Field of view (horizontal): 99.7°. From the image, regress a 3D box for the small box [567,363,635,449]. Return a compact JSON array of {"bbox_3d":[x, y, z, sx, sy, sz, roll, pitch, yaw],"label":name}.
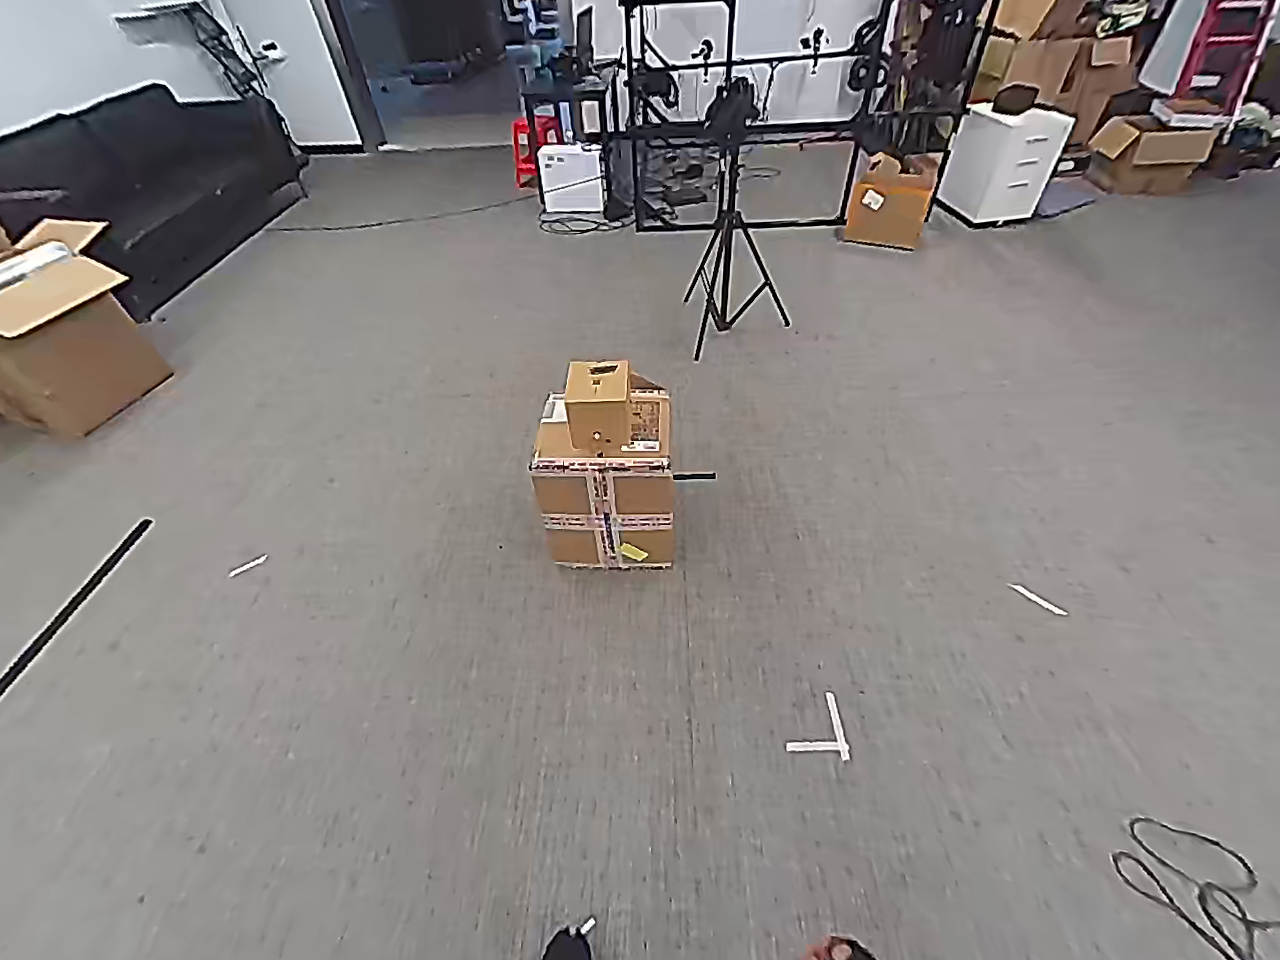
[{"bbox_3d":[-0.103,-0.207,1.519,0.168,0.176,0.179,-1,49,3],"label":"small box"}]
